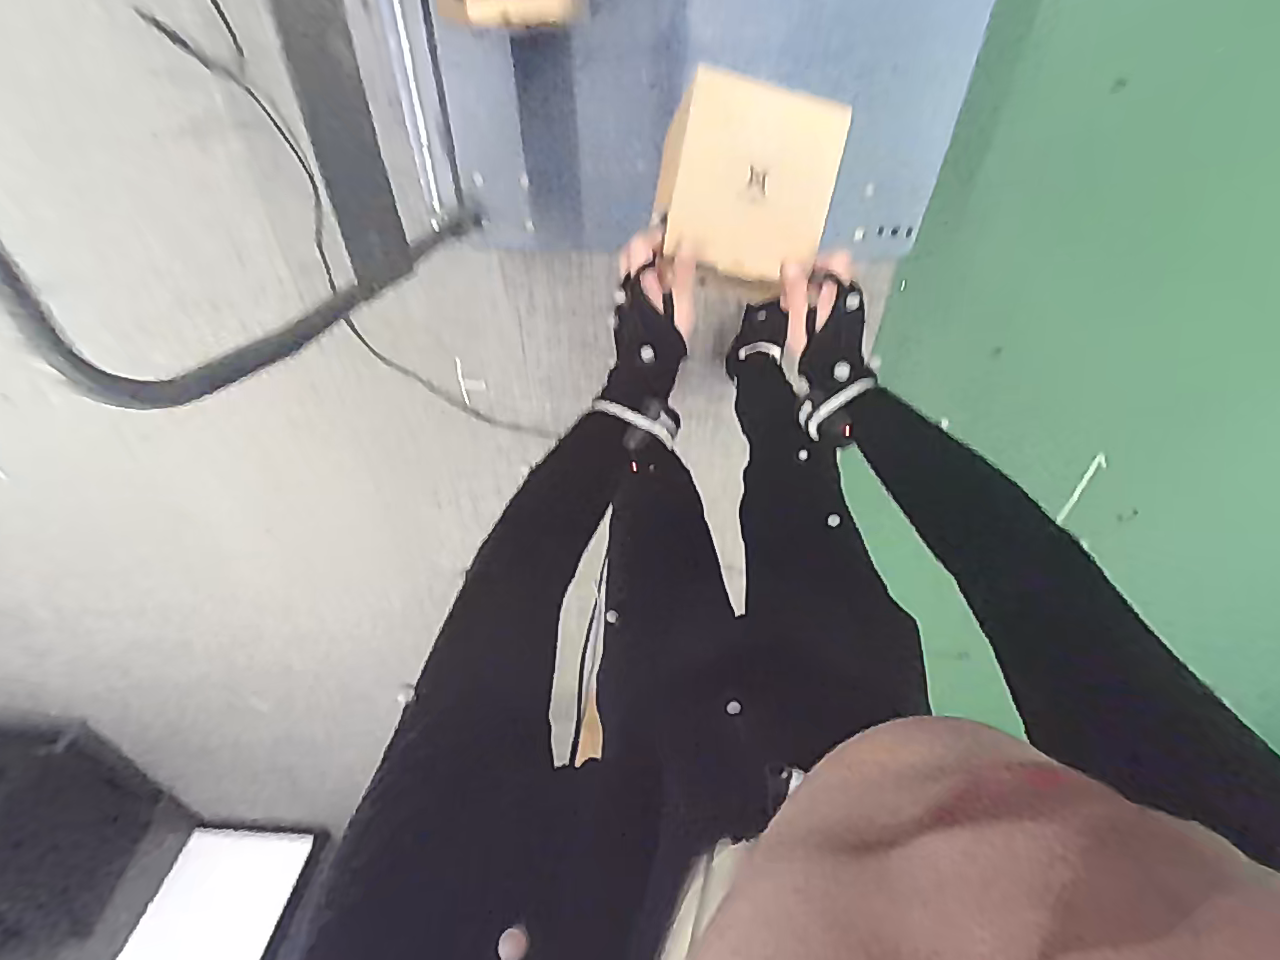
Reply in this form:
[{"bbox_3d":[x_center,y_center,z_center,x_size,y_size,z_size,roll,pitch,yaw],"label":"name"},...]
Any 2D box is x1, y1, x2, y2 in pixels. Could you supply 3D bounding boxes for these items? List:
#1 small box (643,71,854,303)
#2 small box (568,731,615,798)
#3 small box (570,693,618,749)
[{"bbox_3d":[0.107,-0.312,0.620,0.168,0.176,0.179,10,104,-11],"label":"small box"},{"bbox_3d":[-0.188,1.093,2.085,0.168,0.176,0.179,6,127,-1],"label":"small box"},{"bbox_3d":[-0.185,0.996,2.216,0.179,0.176,0.168,7,127,-1],"label":"small box"}]
